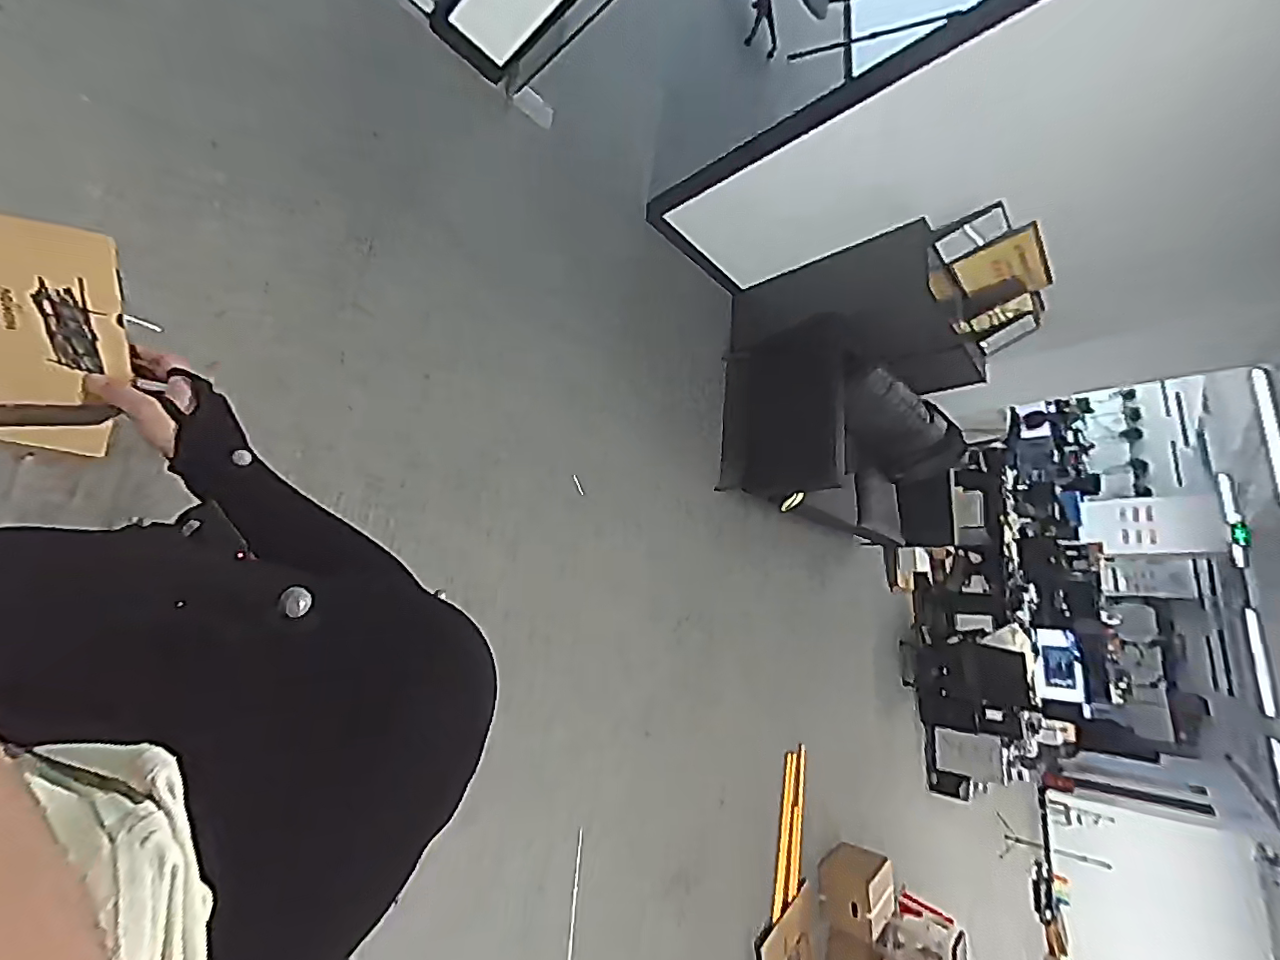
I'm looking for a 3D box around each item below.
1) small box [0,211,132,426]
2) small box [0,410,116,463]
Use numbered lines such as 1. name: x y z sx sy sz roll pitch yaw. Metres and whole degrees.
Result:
1. small box: -0.610 -0.141 0.491 0.179 0.176 0.168 -10 95 -54
2. small box: -1.188 -0.143 1.099 0.168 0.176 0.179 19 71 -45
